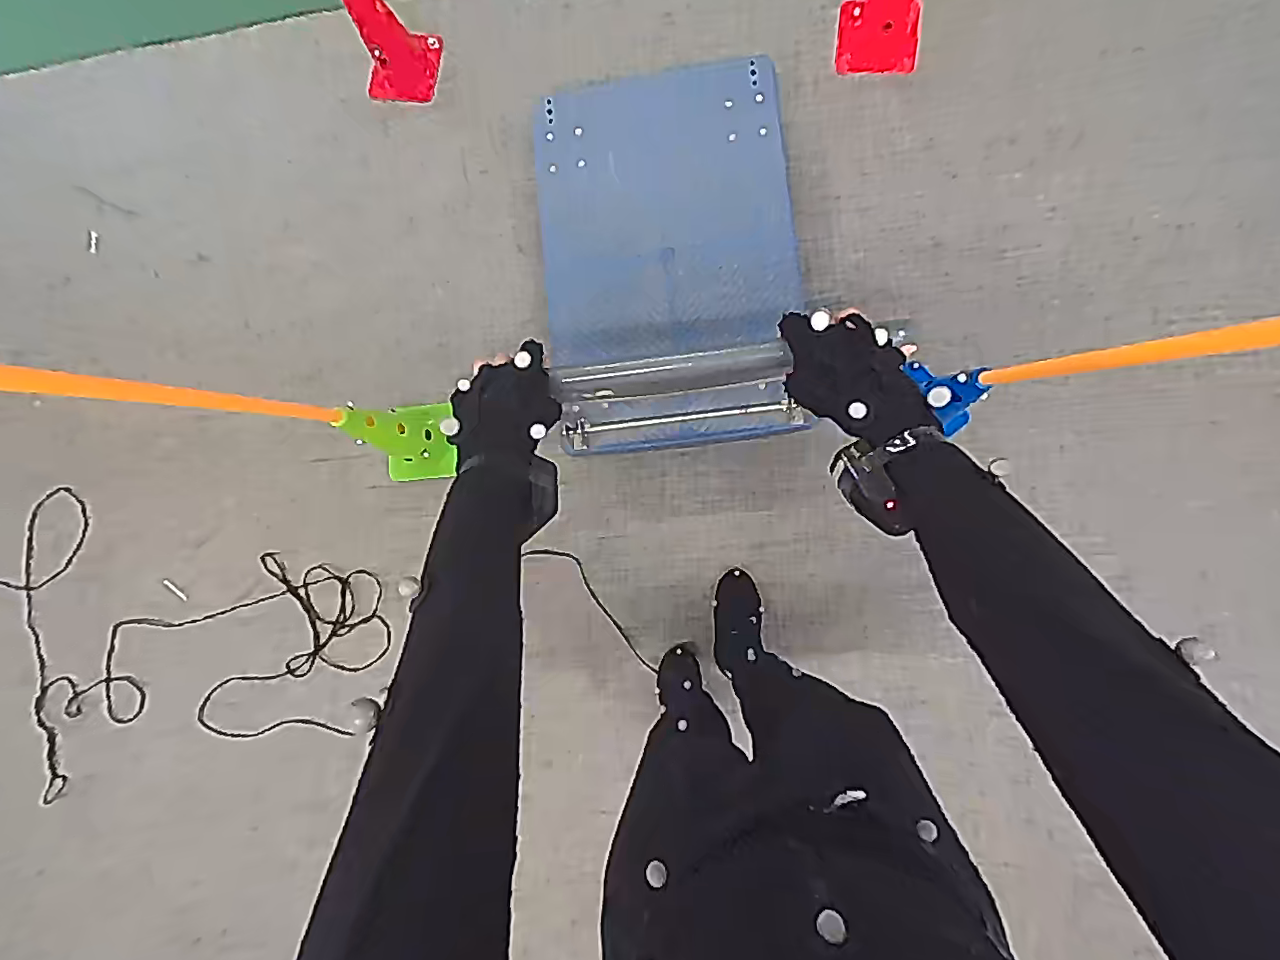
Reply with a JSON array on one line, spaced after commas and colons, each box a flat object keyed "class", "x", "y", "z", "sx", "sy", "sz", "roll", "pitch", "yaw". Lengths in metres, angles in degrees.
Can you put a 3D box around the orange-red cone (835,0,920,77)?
[{"class": "orange-red cone", "x": 0.589, "y": -1.144, "z": 1.223, "sx": 0.198, "sy": 0.360, "sz": 0.199, "roll": 7, "pitch": 87, "yaw": 8}]
